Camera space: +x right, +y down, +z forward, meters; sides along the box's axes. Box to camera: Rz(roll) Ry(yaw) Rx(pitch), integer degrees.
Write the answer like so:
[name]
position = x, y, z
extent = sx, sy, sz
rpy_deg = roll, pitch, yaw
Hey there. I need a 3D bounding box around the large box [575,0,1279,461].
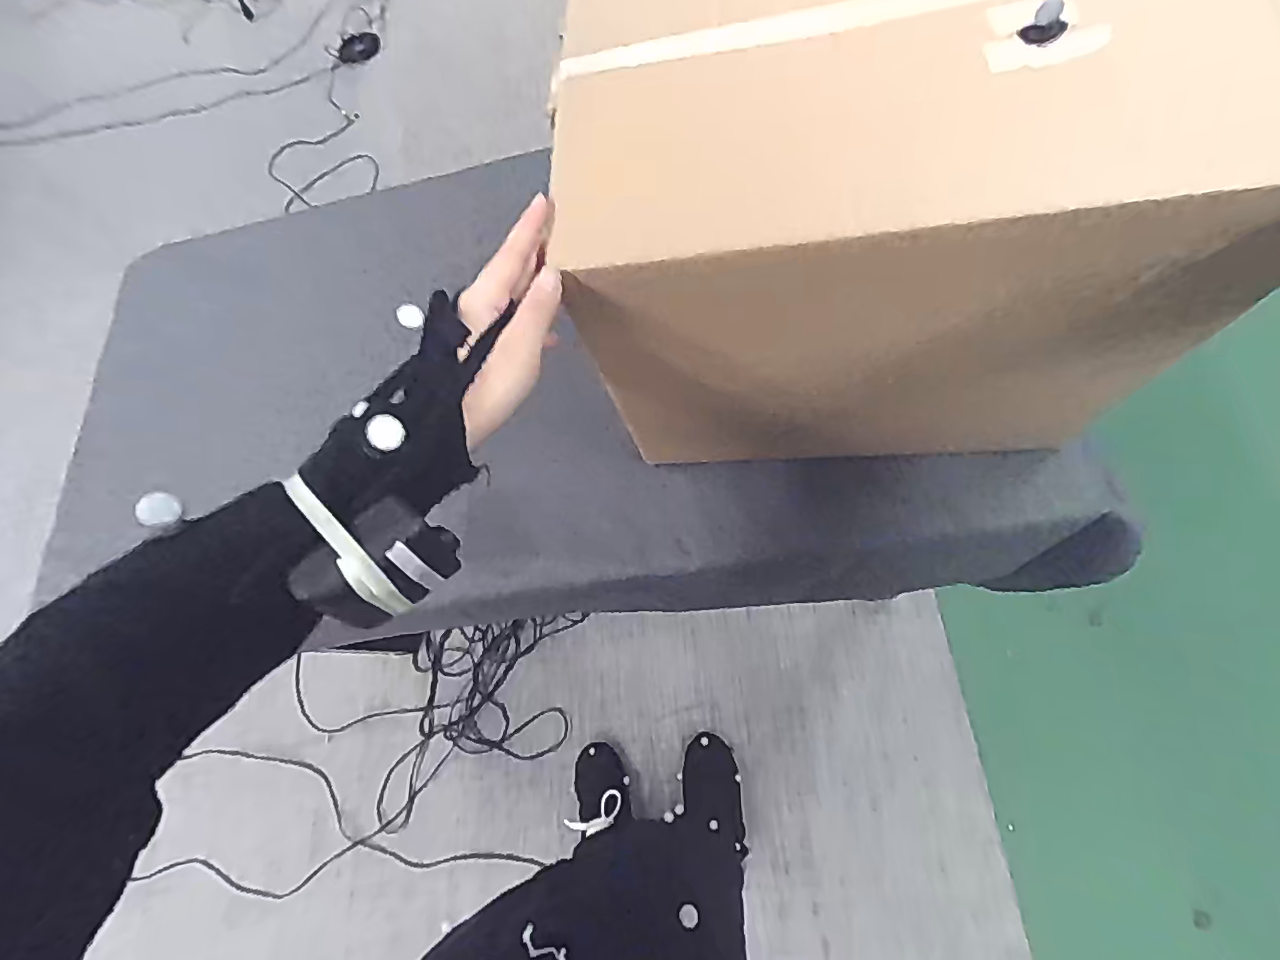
[large box]
position = 0.182, -0.219, 0.464
extent = 0.408, 0.320, 0.320
rpy_deg = -2, 71, 10
